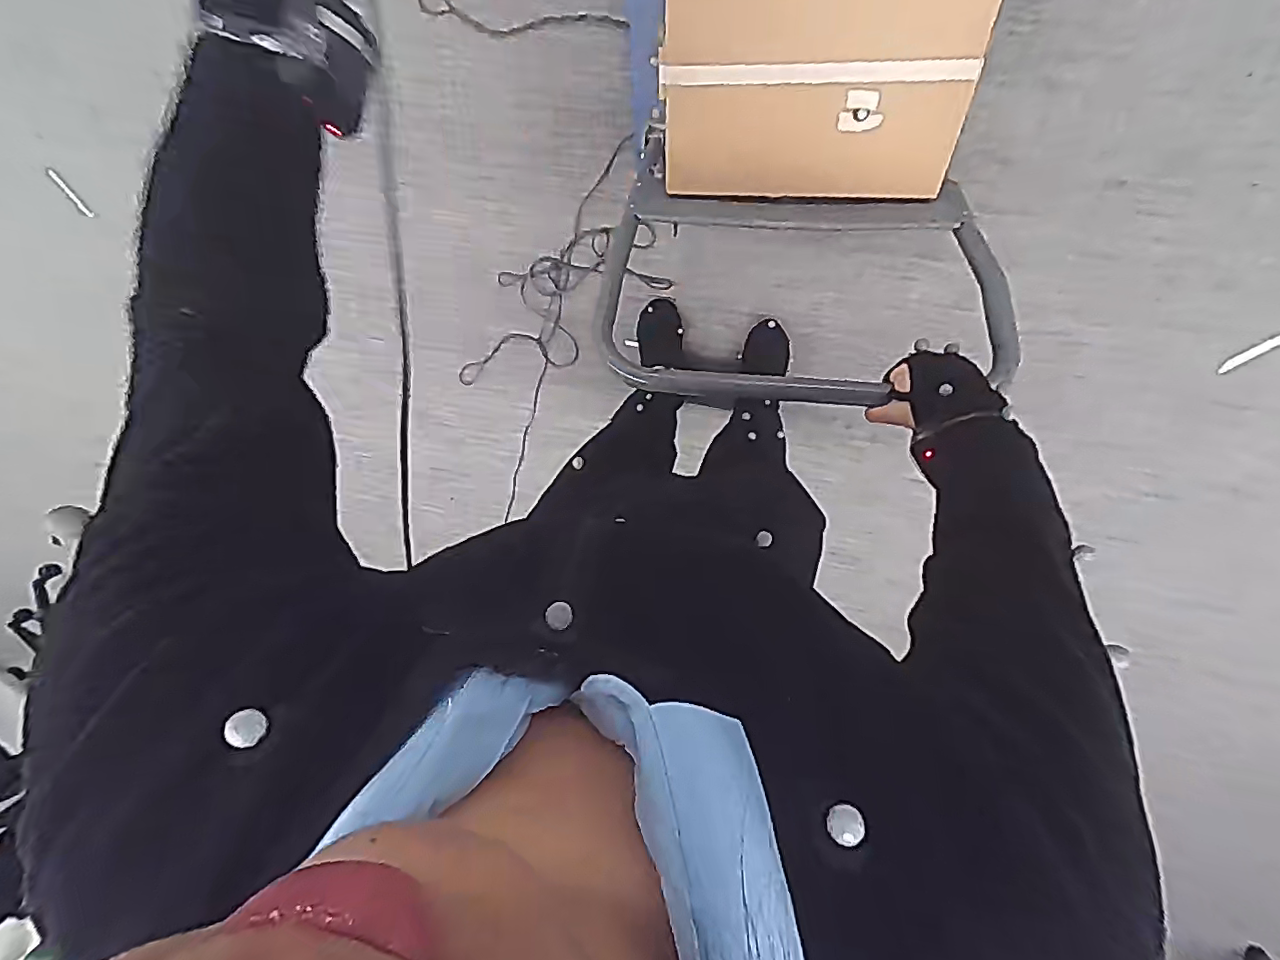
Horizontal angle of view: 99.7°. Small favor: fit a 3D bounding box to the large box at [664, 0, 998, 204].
[{"bbox_3d":[0.250,-0.636,0.820,0.408,0.320,0.320,4,137,7],"label":"large box"}]
